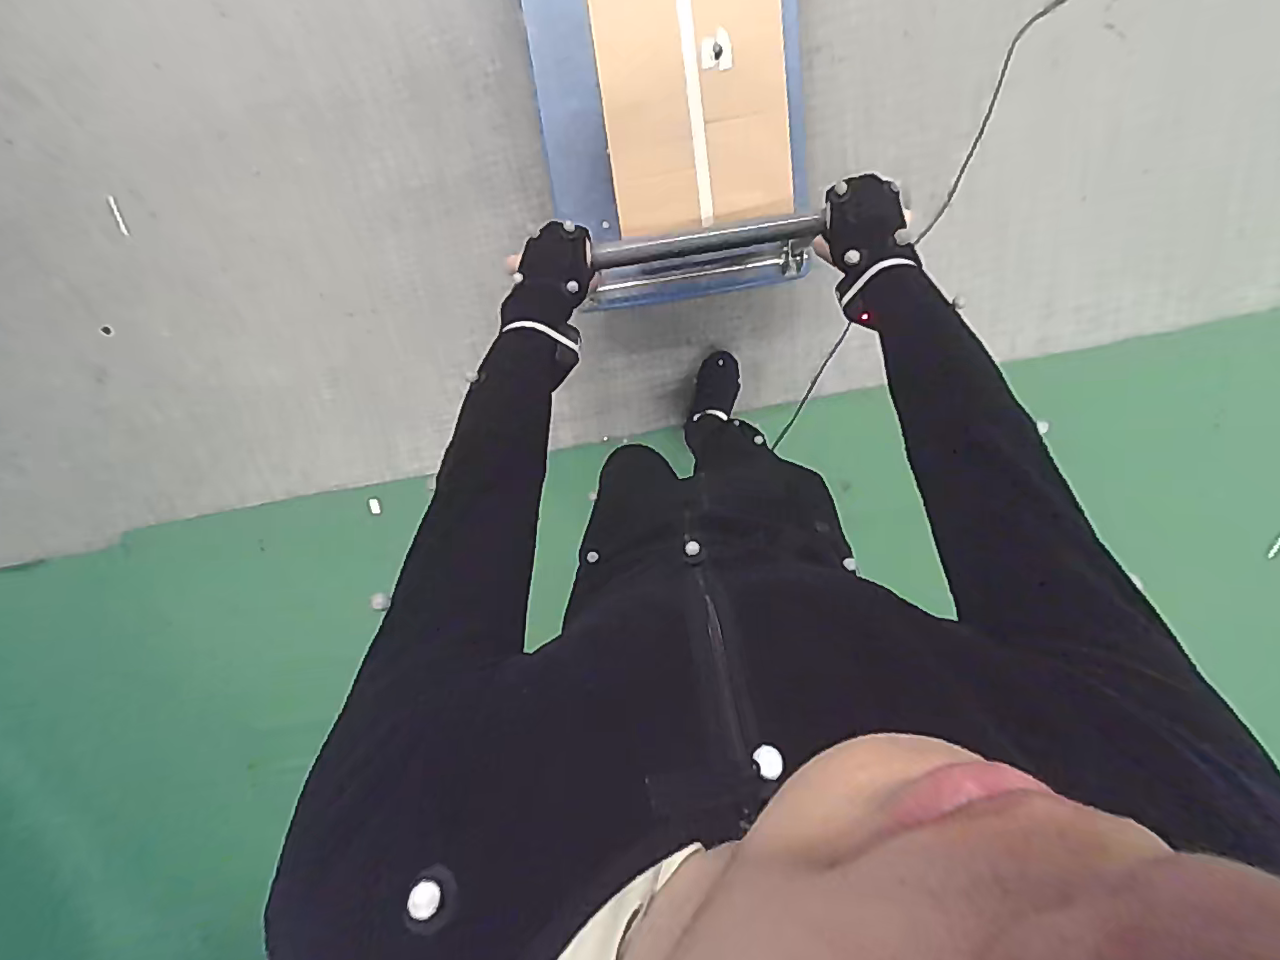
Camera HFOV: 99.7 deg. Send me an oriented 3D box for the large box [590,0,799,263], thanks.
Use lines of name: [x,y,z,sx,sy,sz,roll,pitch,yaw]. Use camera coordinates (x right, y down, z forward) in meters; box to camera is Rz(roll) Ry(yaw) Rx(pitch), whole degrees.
large box: [0.108,-0.678,1.058,0.320,0.320,0.408,-8,105,5]
